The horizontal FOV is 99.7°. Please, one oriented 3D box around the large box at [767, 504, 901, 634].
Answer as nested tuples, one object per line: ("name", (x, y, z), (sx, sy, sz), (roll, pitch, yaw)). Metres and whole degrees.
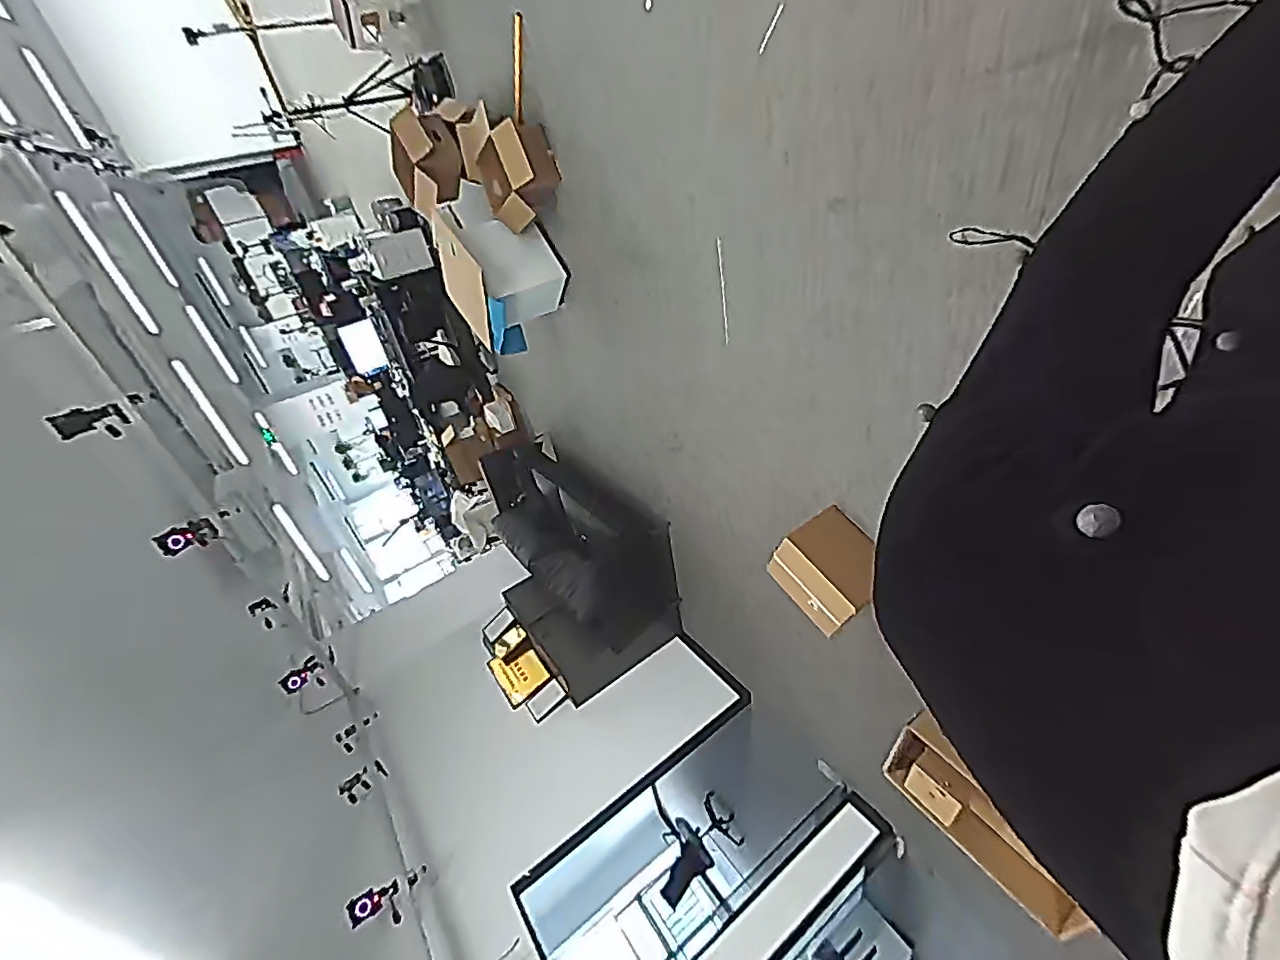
("large box", (0.840, 0.385, 2.387), (0.408, 0.320, 0.320), (48, 153, 25))
